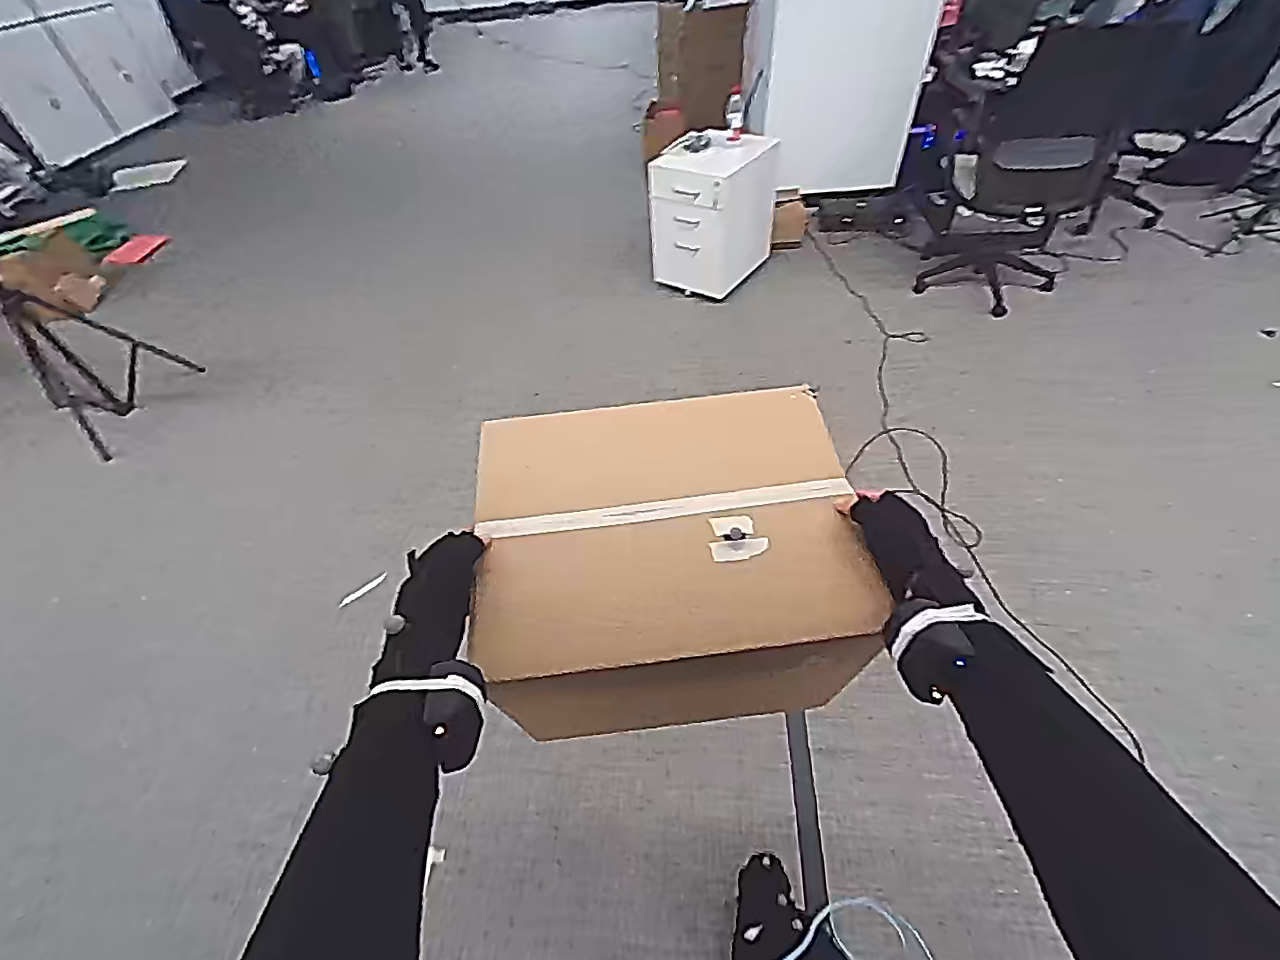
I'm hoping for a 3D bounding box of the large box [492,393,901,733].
[{"bbox_3d":[0.045,0.120,0.717,0.408,0.320,0.320,-6,56,-1],"label":"large box"}]
